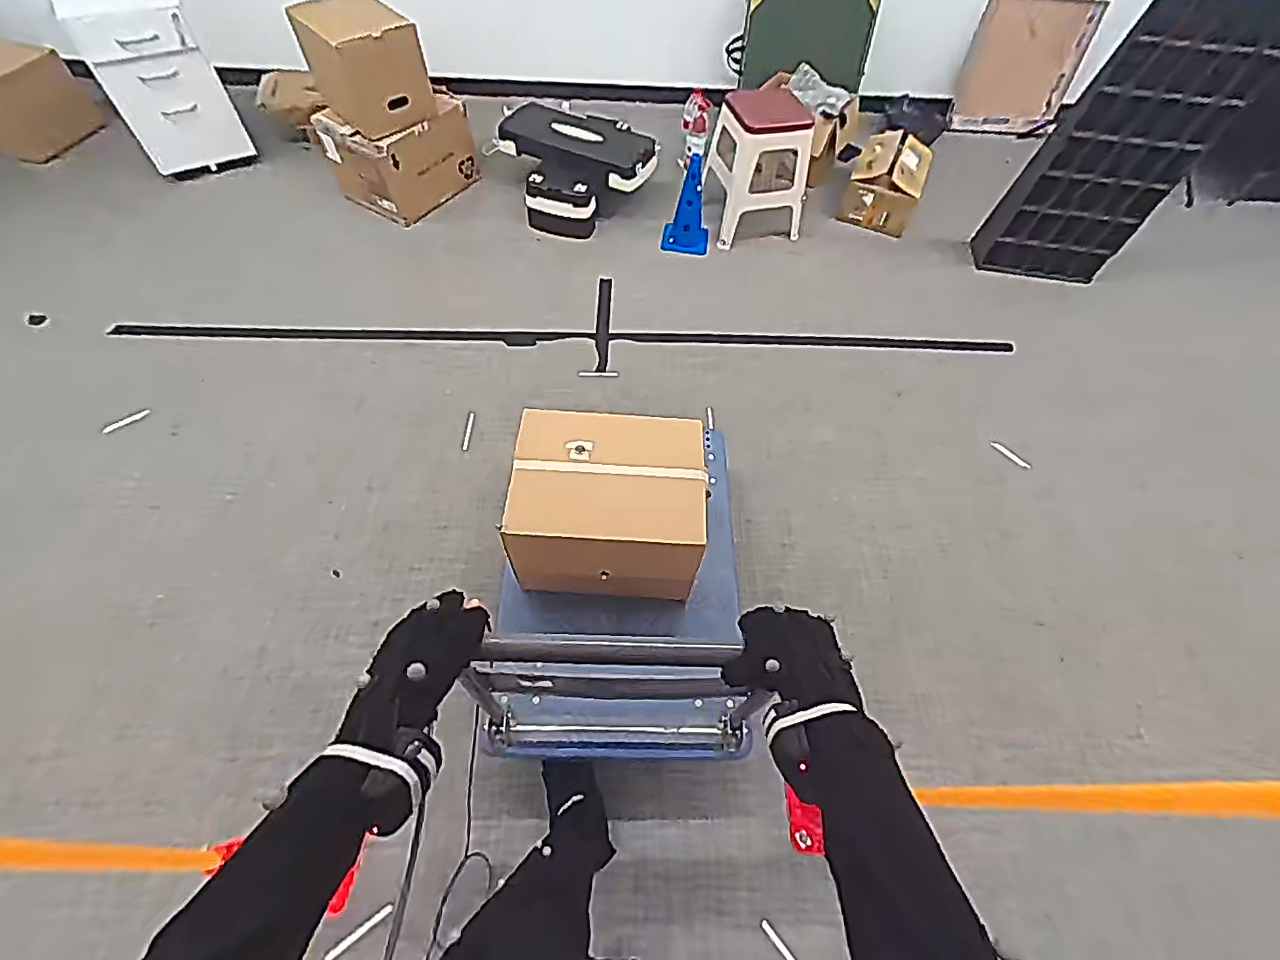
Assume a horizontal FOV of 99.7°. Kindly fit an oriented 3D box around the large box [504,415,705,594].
[{"bbox_3d":[-0.069,0.067,1.268,0.408,0.320,0.320,3,57,0],"label":"large box"}]

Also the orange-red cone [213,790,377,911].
[{"bbox_3d":[-0.677,0.692,1.013,0.198,0.360,0.199,8,56,1],"label":"orange-red cone"}]

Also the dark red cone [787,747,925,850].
[{"bbox_3d":[0.453,0.628,1.085,0.201,0.394,0.202,2,58,-4],"label":"dark red cone"}]
